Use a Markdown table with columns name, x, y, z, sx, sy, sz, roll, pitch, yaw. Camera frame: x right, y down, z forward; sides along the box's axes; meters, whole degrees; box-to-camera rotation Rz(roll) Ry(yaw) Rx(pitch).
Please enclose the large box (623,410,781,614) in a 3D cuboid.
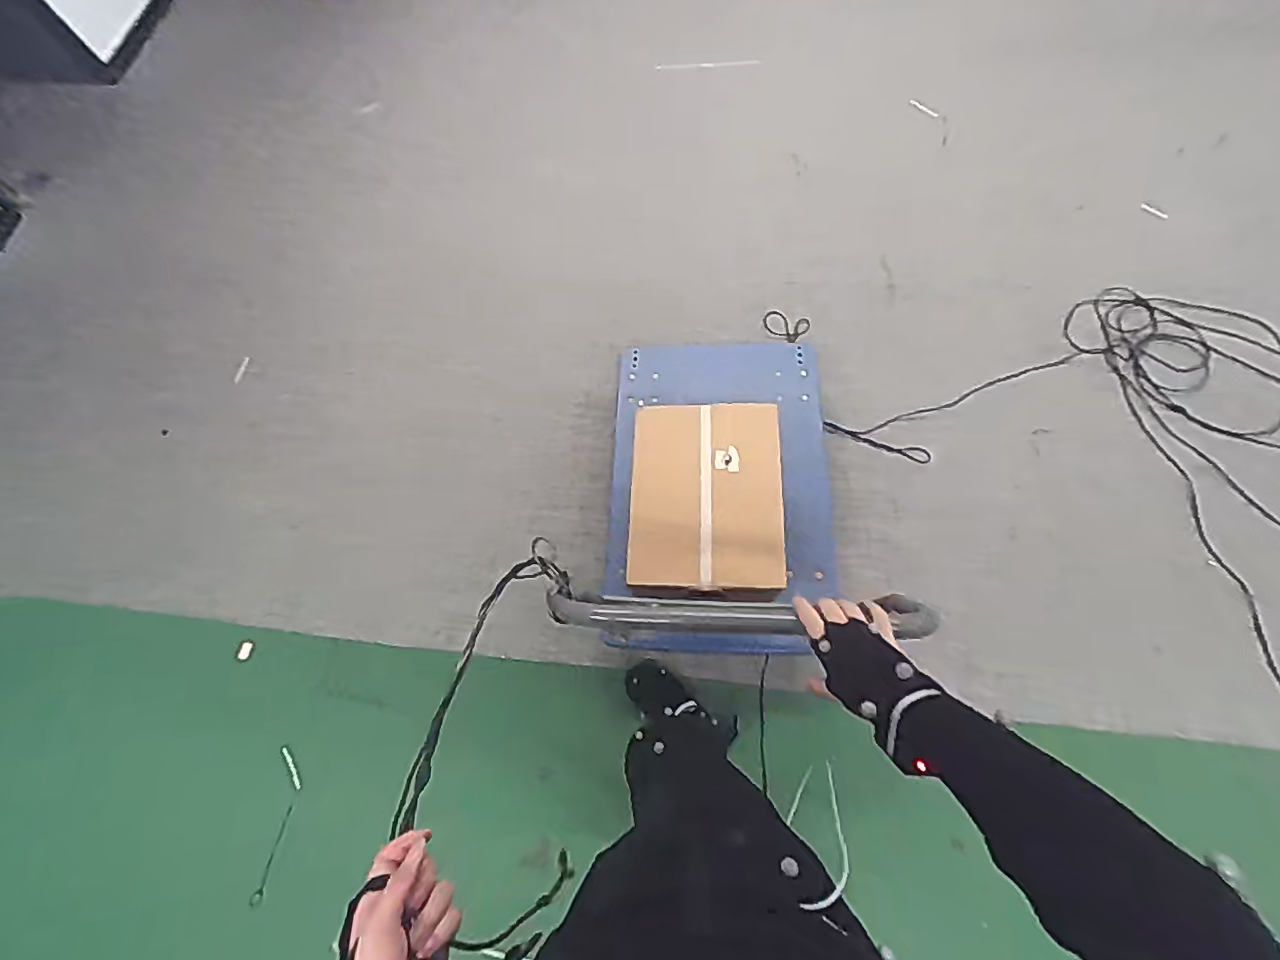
| name | x | y | z | sx | sy | sz | roll | pitch | yaw |
| --- | --- | --- | --- | --- | --- | --- | --- | --- | --- |
| large box | 0.142 | 0.088 | 1.263 | 0.320 | 0.320 | 0.408 | 1 | 68 | 6 |
